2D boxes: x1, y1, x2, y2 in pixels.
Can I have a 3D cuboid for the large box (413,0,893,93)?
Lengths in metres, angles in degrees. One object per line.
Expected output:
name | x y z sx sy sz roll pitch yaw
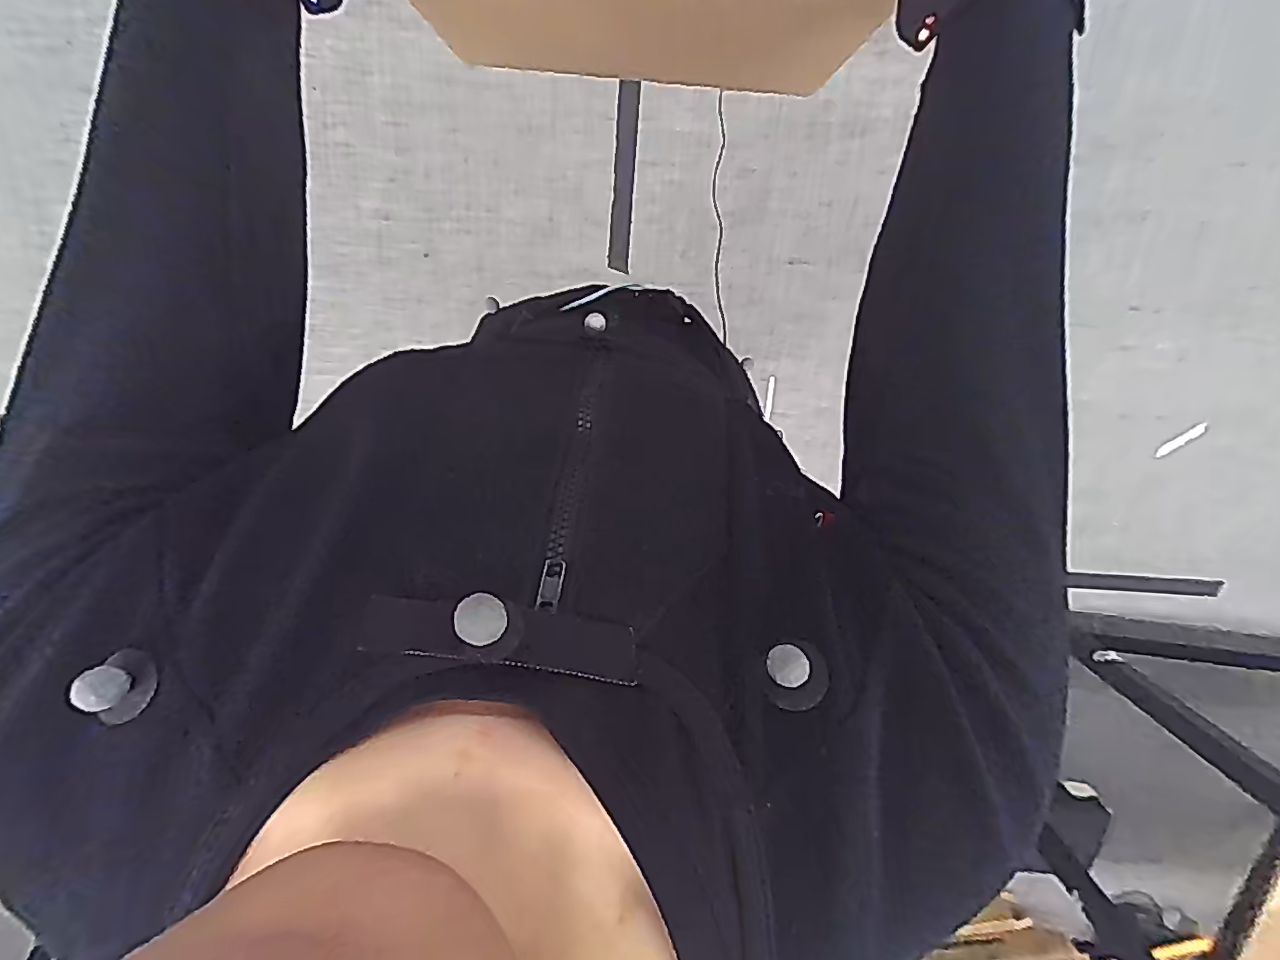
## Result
large box | 0.009 -0.545 0.431 0.408 0.320 0.320 4 112 -1
